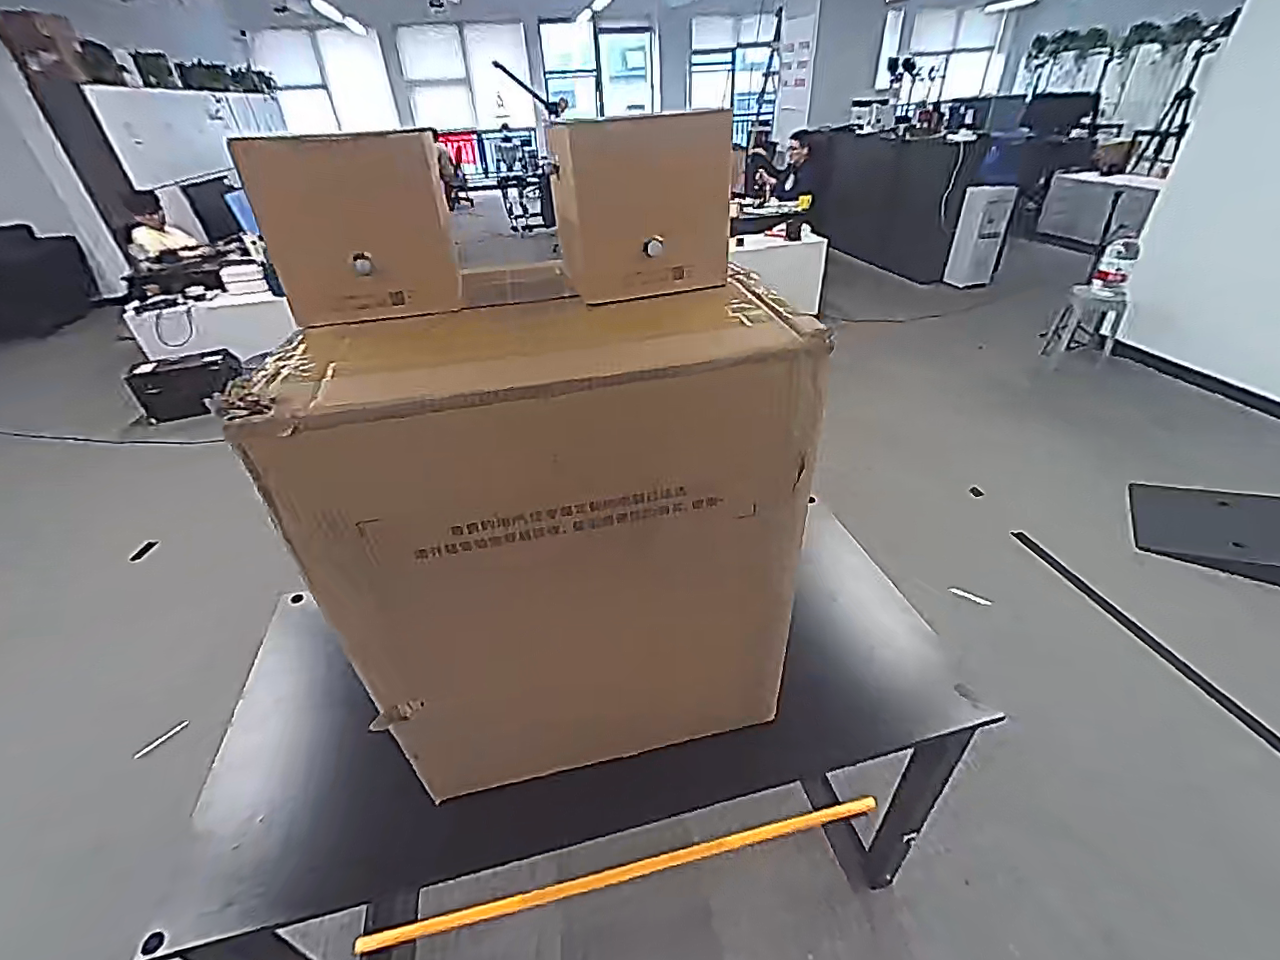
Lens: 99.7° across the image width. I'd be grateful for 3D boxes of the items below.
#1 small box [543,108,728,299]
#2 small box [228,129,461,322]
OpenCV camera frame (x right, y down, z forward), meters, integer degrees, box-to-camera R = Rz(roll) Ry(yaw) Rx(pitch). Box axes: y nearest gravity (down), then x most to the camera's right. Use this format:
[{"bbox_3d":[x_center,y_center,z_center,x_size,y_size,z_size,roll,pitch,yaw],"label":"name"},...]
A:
[{"bbox_3d":[-0.009,-0.318,0.620,0.168,0.176,0.179,-12,35,-11],"label":"small box"},{"bbox_3d":[-0.301,-0.284,0.599,0.168,0.176,0.179,-11,35,-11],"label":"small box"}]
